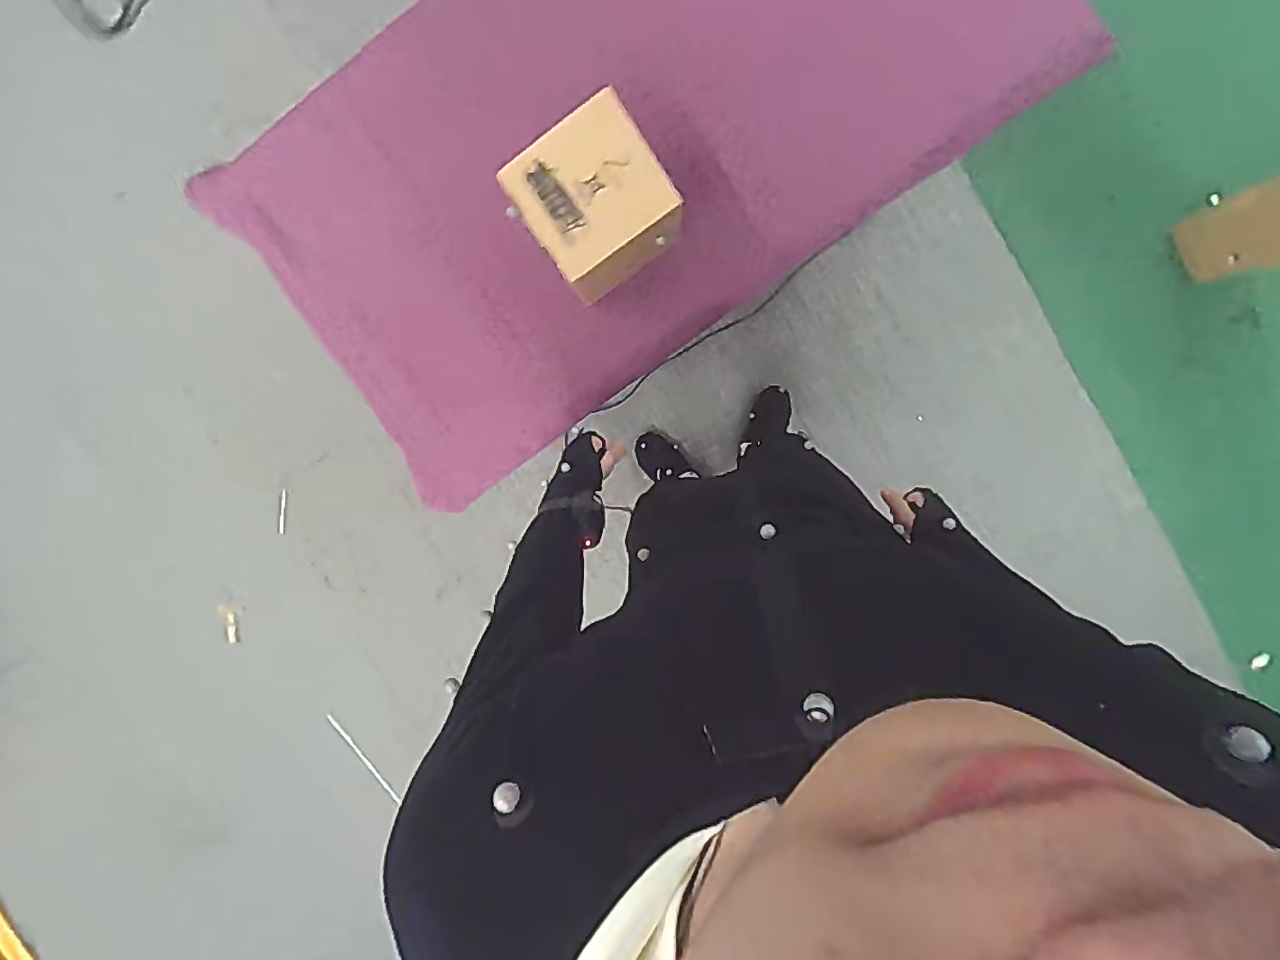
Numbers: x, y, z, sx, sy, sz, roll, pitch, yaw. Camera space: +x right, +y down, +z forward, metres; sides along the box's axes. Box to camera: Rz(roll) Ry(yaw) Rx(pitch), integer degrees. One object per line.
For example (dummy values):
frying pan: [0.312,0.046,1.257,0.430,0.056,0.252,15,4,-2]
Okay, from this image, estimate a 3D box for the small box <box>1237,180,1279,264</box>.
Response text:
small box: [1.542,-0.613,1.220,0.168,0.176,0.179,-36,95,7]

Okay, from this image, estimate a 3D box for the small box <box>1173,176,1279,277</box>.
small box: [1.543,-0.641,1.380,0.168,0.176,0.179,-33,96,7]
